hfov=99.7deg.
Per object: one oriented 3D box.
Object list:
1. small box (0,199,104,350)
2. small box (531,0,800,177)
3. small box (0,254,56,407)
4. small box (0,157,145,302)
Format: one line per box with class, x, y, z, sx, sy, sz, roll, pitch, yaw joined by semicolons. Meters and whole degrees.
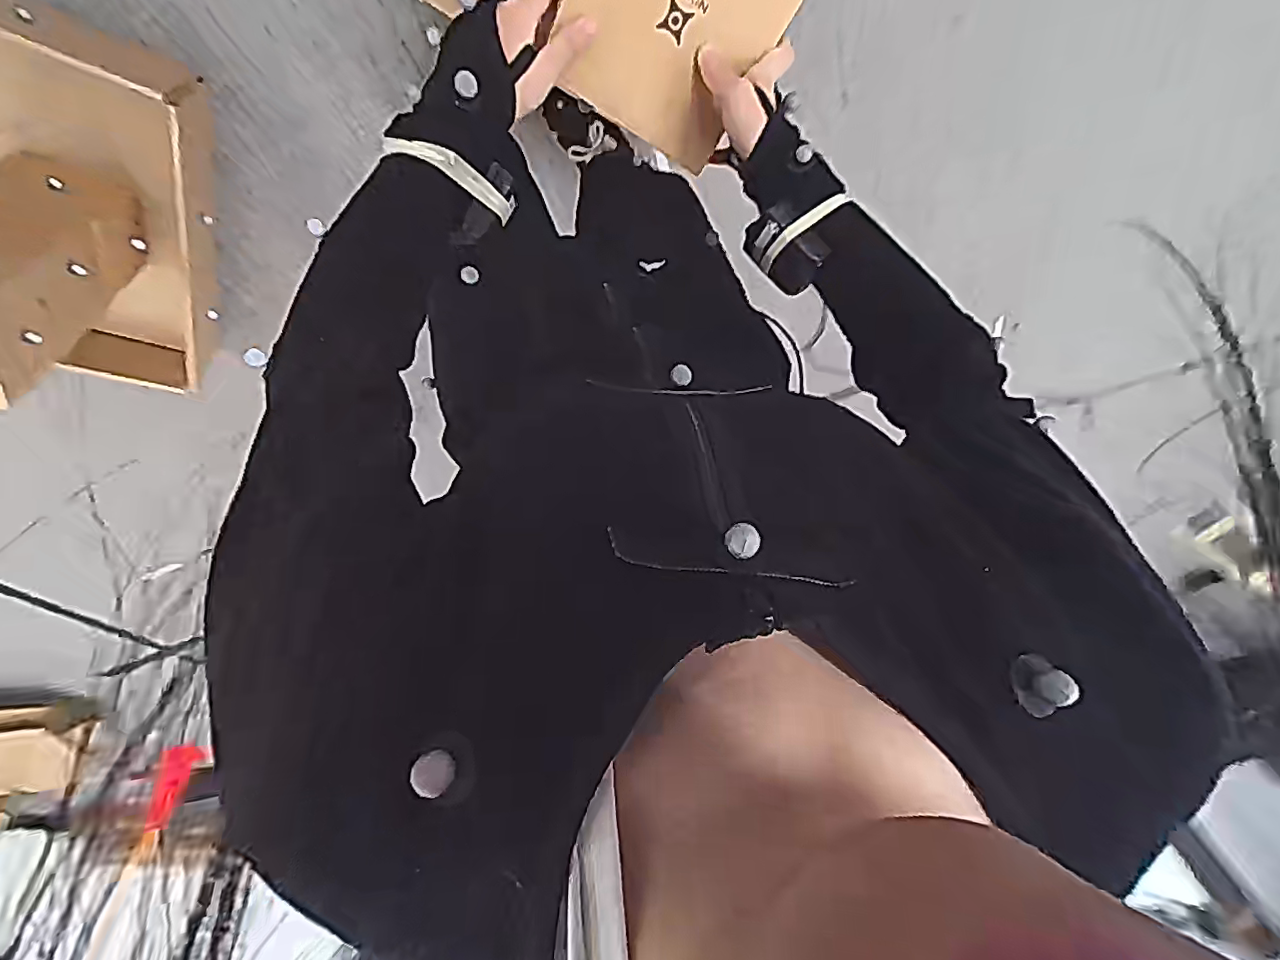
small box;-1.037;-0.345;0.890;0.179;0.176;0.168;9;131;-23
small box;0.011;-0.417;0.479;0.168;0.176;0.179;17;127;-30
small box;-1.002;-0.231;0.776;0.179;0.176;0.168;8;131;-24
small box;-1.064;-0.464;0.997;0.179;0.176;0.168;11;132;-27
